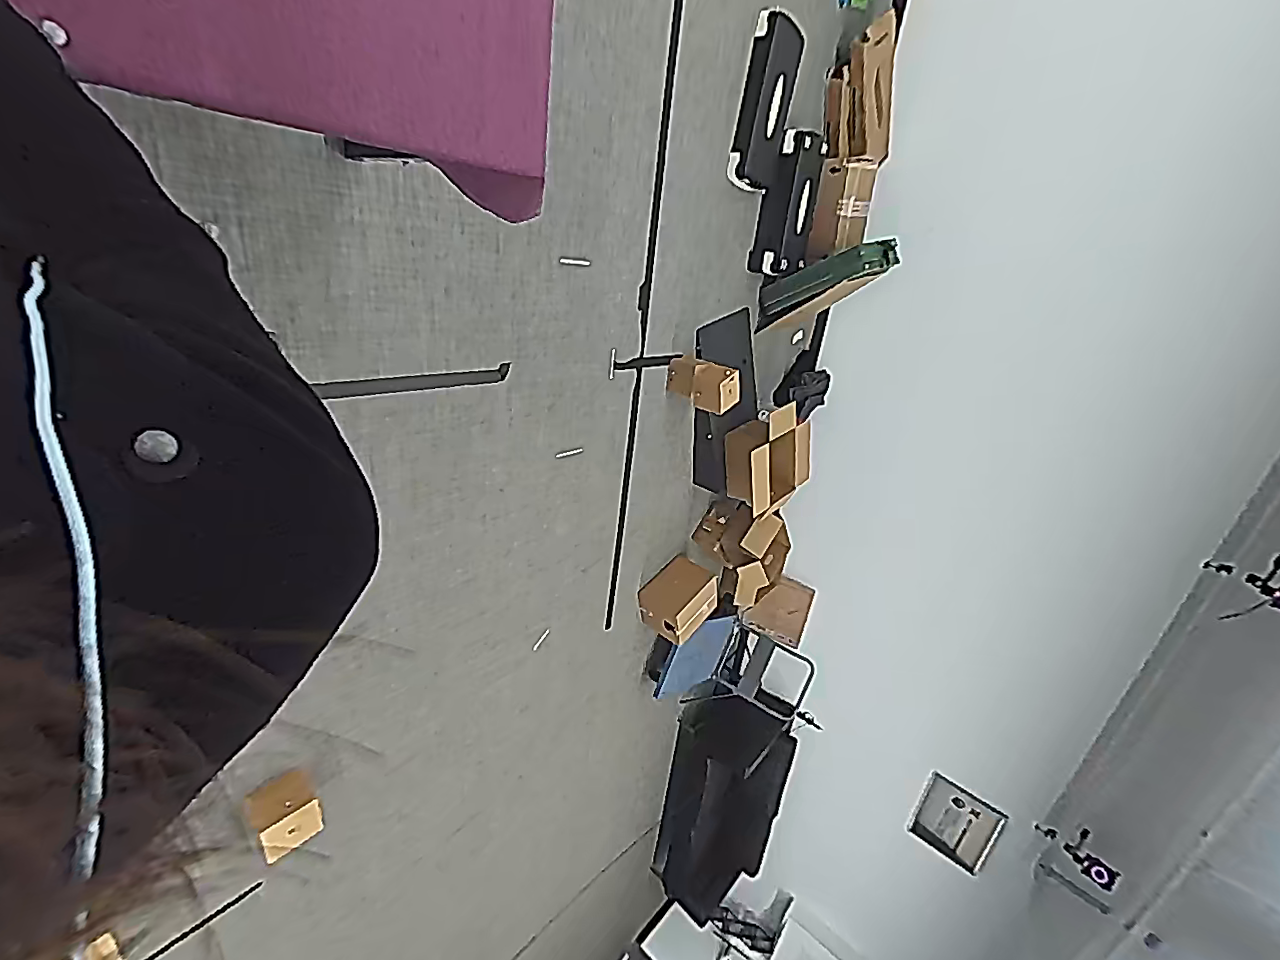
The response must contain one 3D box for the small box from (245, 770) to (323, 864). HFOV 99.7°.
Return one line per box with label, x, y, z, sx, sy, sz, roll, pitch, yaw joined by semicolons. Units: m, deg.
small box;-1.229;1.152;1.861;0.179;0.176;0.168;-23;127;-47
